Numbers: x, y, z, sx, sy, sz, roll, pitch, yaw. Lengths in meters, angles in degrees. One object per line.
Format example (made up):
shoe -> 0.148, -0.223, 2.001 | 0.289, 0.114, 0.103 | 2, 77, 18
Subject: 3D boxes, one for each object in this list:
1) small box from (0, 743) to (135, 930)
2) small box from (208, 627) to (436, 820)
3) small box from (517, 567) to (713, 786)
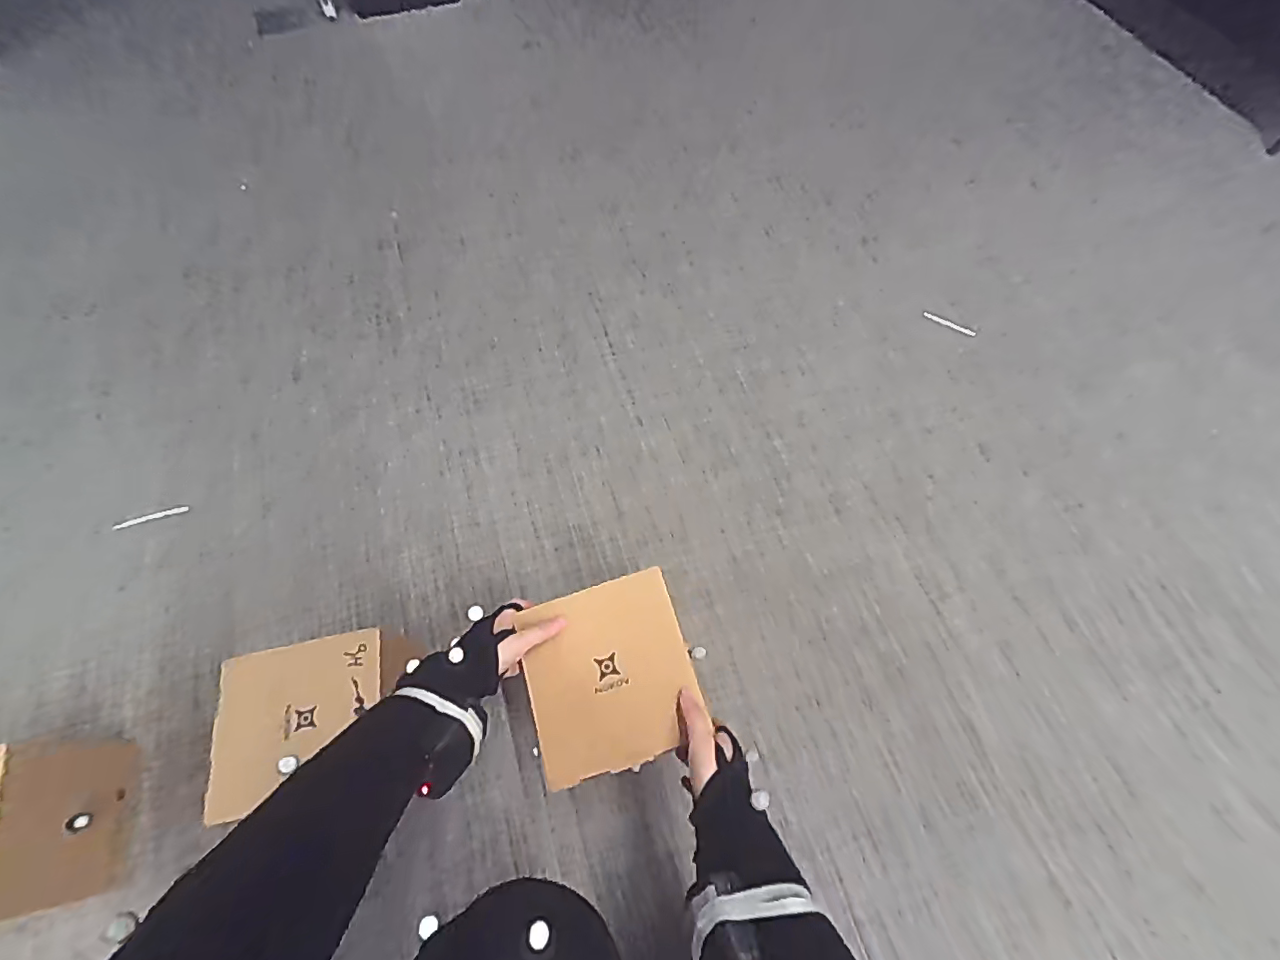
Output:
small box -> -0.718, 0.402, 0.596 | 0.179, 0.176, 0.168 | -15, 63, -8
small box -> -0.364, 0.292, 0.654 | 0.179, 0.176, 0.168 | -10, 64, -6
small box -> -0.024, 0.223, 0.620 | 0.168, 0.176, 0.179 | -19, 67, -1
